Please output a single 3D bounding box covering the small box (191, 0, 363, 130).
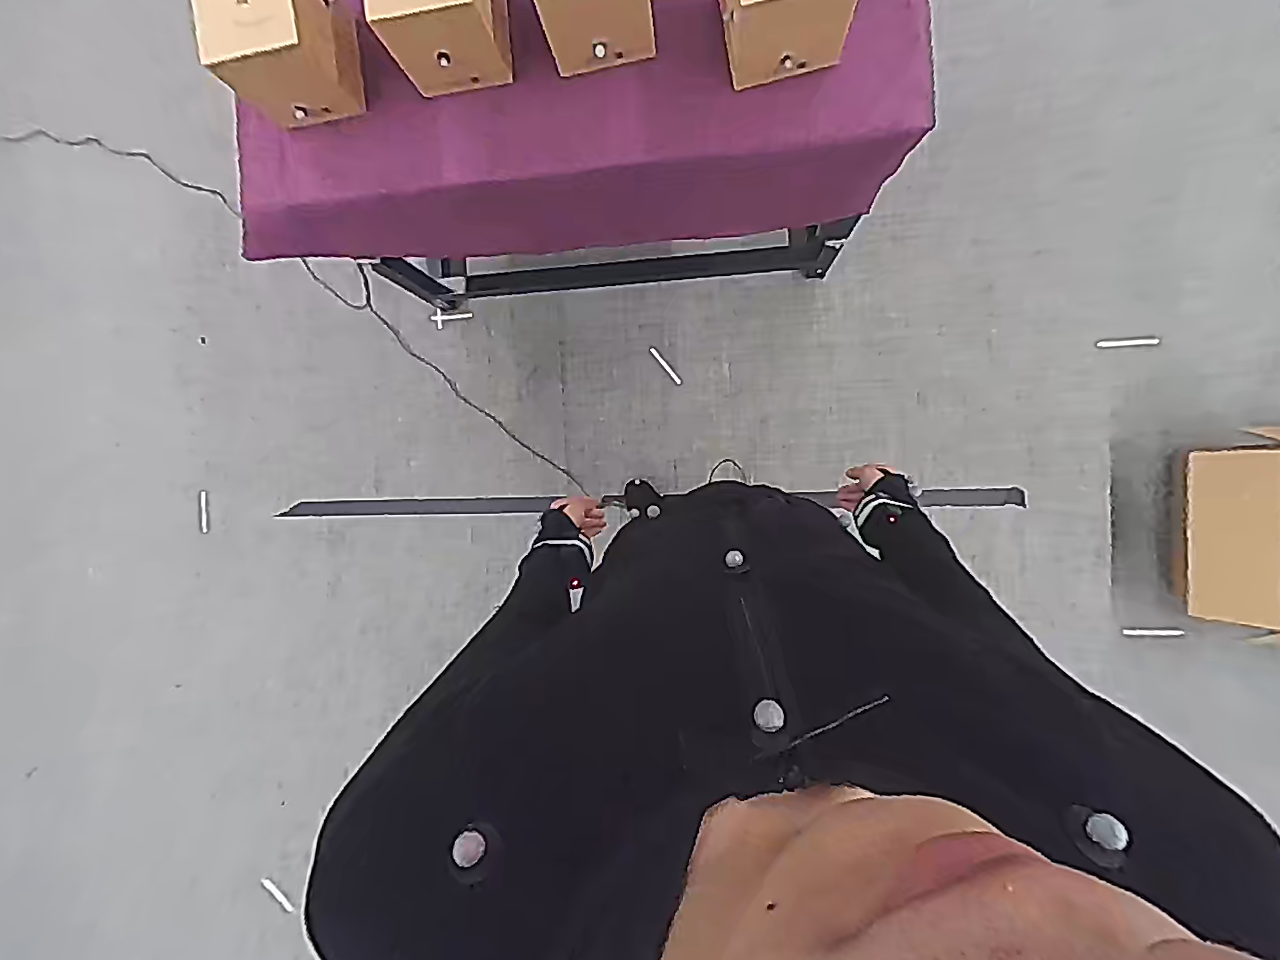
[{"bbox_3d":[-0.589,-0.725,0.891,0.168,0.176,0.179,-7,90,7],"label":"small box"}]

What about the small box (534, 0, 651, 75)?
[{"bbox_3d":[-0.079,-0.779,0.831,0.168,0.176,0.179,-8,91,7],"label":"small box"}]

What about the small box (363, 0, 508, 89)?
[{"bbox_3d":[-0.318,-0.760,0.858,0.168,0.176,0.179,-4,91,7],"label":"small box"}]
